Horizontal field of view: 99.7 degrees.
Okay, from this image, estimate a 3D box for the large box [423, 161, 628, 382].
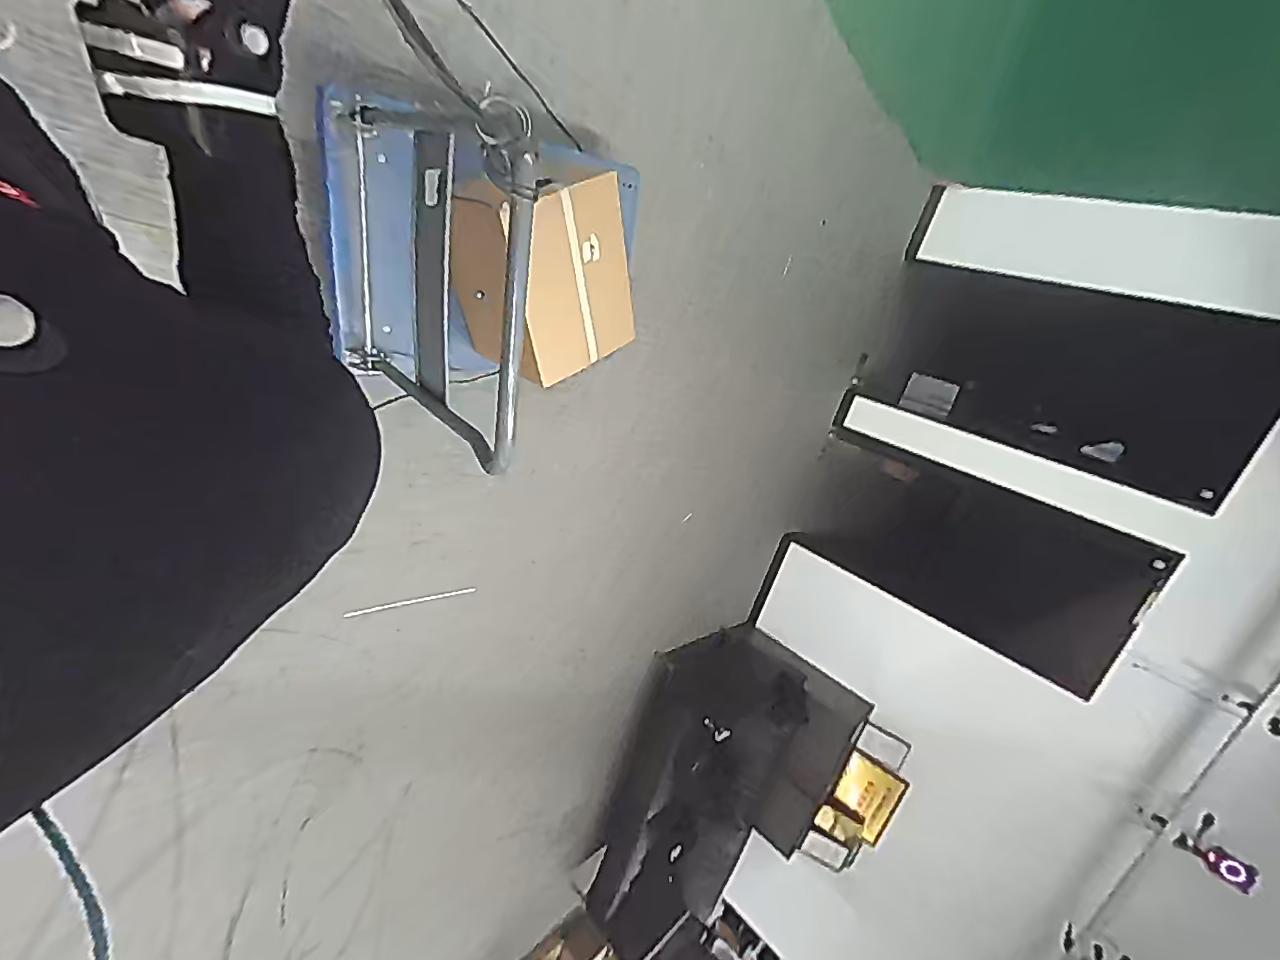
[{"bbox_3d":[-0.264,-0.518,1.330,0.320,0.320,0.408,-37,138,-30],"label":"large box"}]
